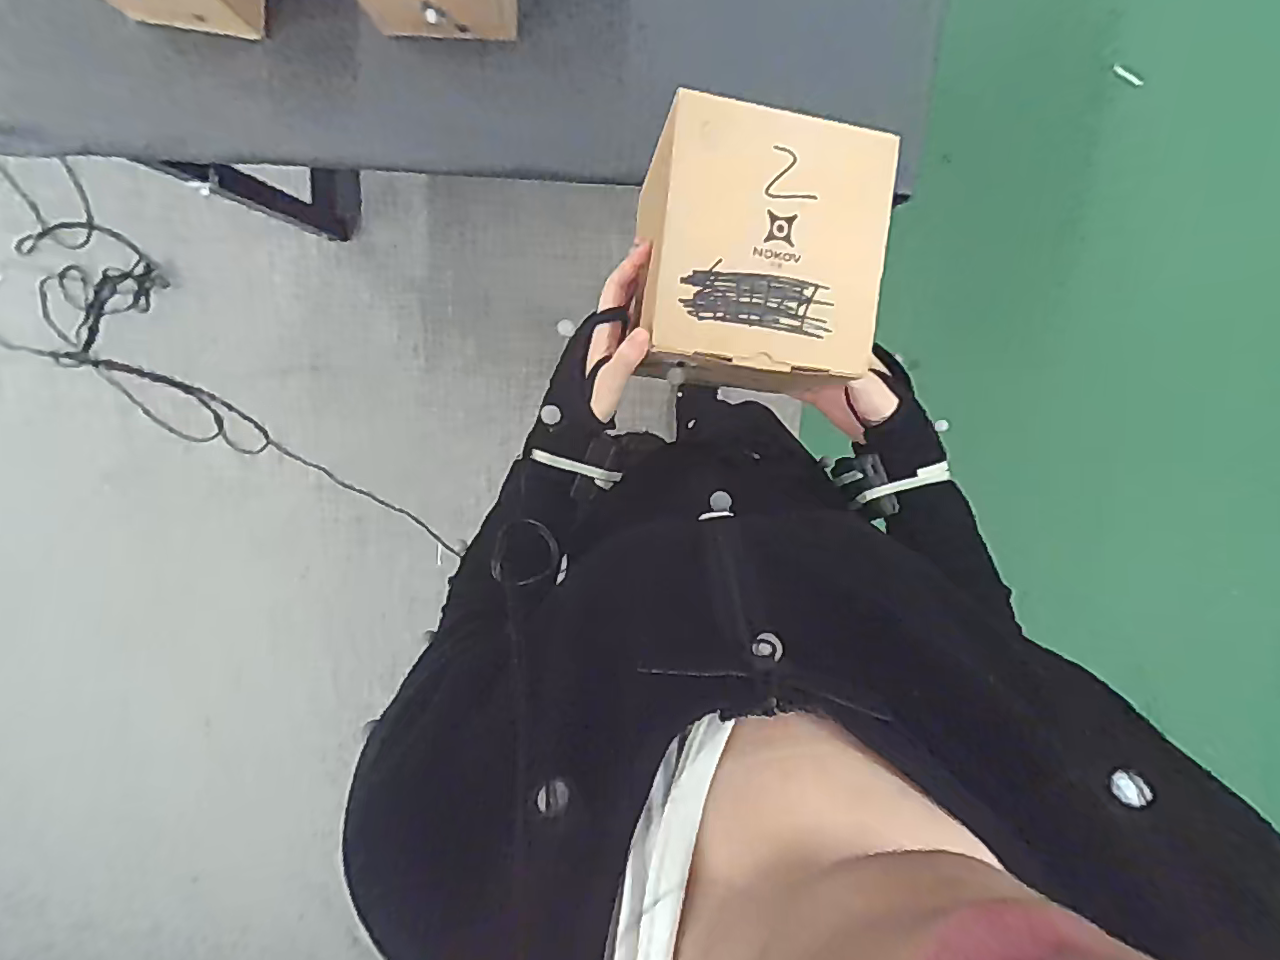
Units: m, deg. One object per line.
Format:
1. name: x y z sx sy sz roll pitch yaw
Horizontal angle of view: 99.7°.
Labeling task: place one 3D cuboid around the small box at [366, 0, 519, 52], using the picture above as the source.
1. small box: -0.226 -0.607 0.573 0.168 0.176 0.179 4 99 1

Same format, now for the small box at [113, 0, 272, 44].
1. small box: -0.528 -0.619 0.581 0.168 0.176 0.179 9 99 0
